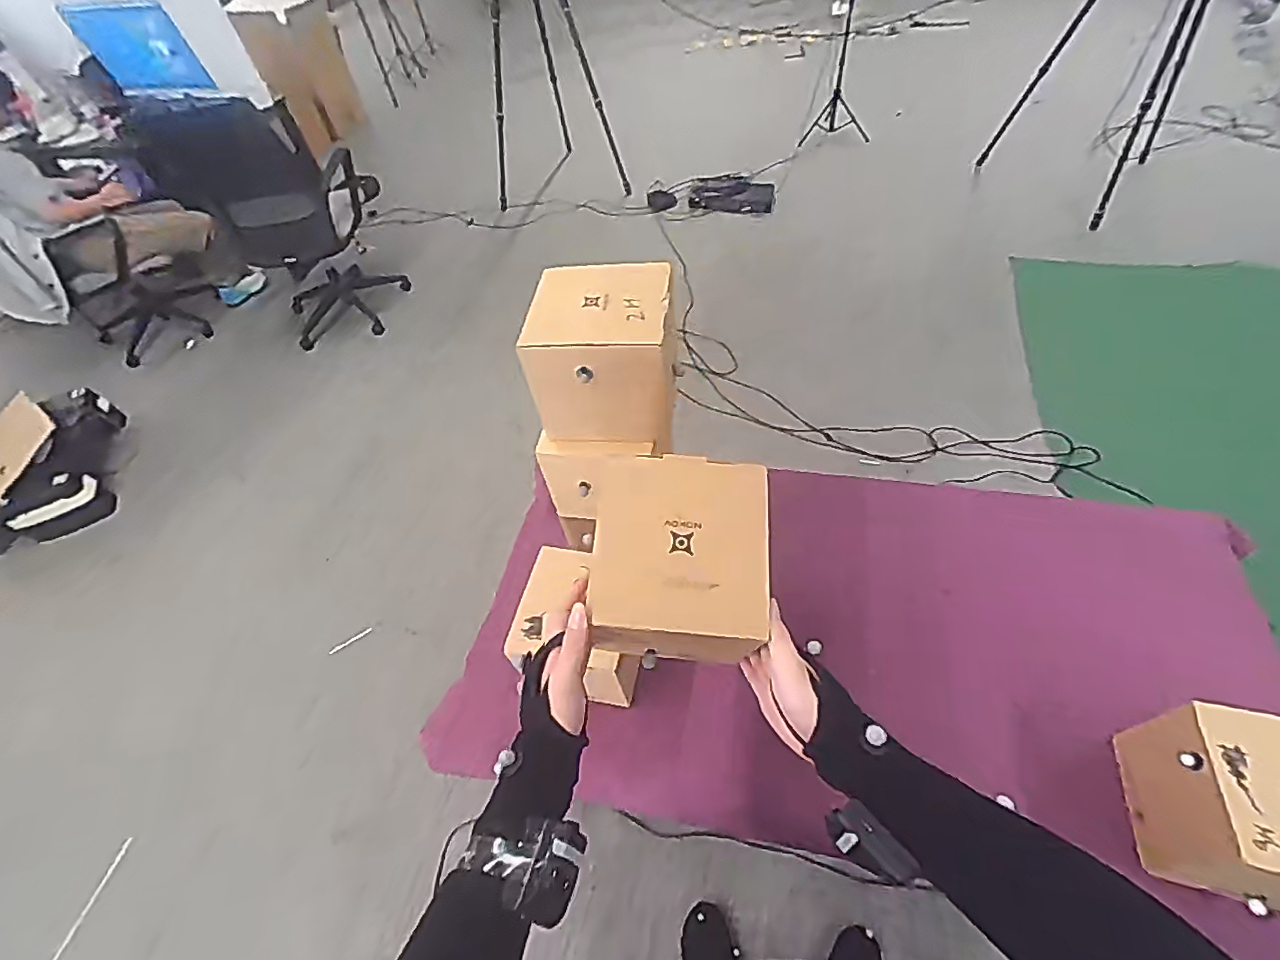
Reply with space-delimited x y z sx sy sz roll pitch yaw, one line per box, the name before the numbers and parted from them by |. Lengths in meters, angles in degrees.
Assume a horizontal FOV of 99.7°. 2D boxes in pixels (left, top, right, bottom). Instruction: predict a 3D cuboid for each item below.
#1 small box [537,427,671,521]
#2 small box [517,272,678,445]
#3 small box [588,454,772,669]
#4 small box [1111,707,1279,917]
small box | -0.044 -0.042 0.853 0.168 0.176 0.179 4 53 10
small box | -0.044 -0.161 0.736 0.179 0.176 0.168 2 53 8
small box | 0.040 0.094 0.579 0.168 0.176 0.179 5 65 1
small box | 0.710 0.390 0.628 0.179 0.176 0.168 9 53 14
